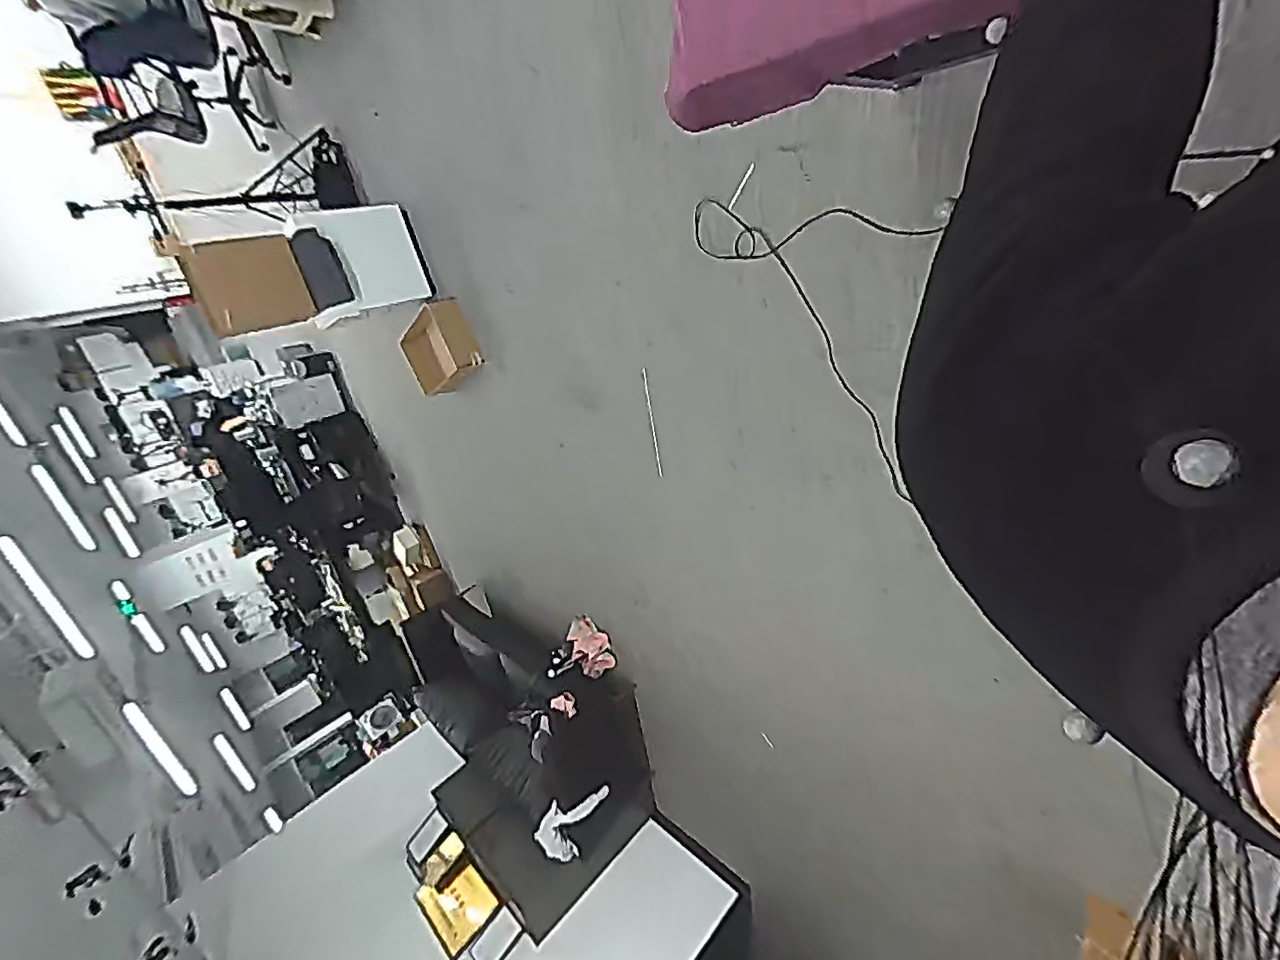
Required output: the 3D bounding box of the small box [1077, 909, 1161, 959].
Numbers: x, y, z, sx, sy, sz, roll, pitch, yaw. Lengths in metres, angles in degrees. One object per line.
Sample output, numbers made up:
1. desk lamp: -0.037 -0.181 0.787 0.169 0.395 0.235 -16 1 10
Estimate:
1. small box: 1.436 1.466 1.629 0.168 0.176 0.179 16 123 43
